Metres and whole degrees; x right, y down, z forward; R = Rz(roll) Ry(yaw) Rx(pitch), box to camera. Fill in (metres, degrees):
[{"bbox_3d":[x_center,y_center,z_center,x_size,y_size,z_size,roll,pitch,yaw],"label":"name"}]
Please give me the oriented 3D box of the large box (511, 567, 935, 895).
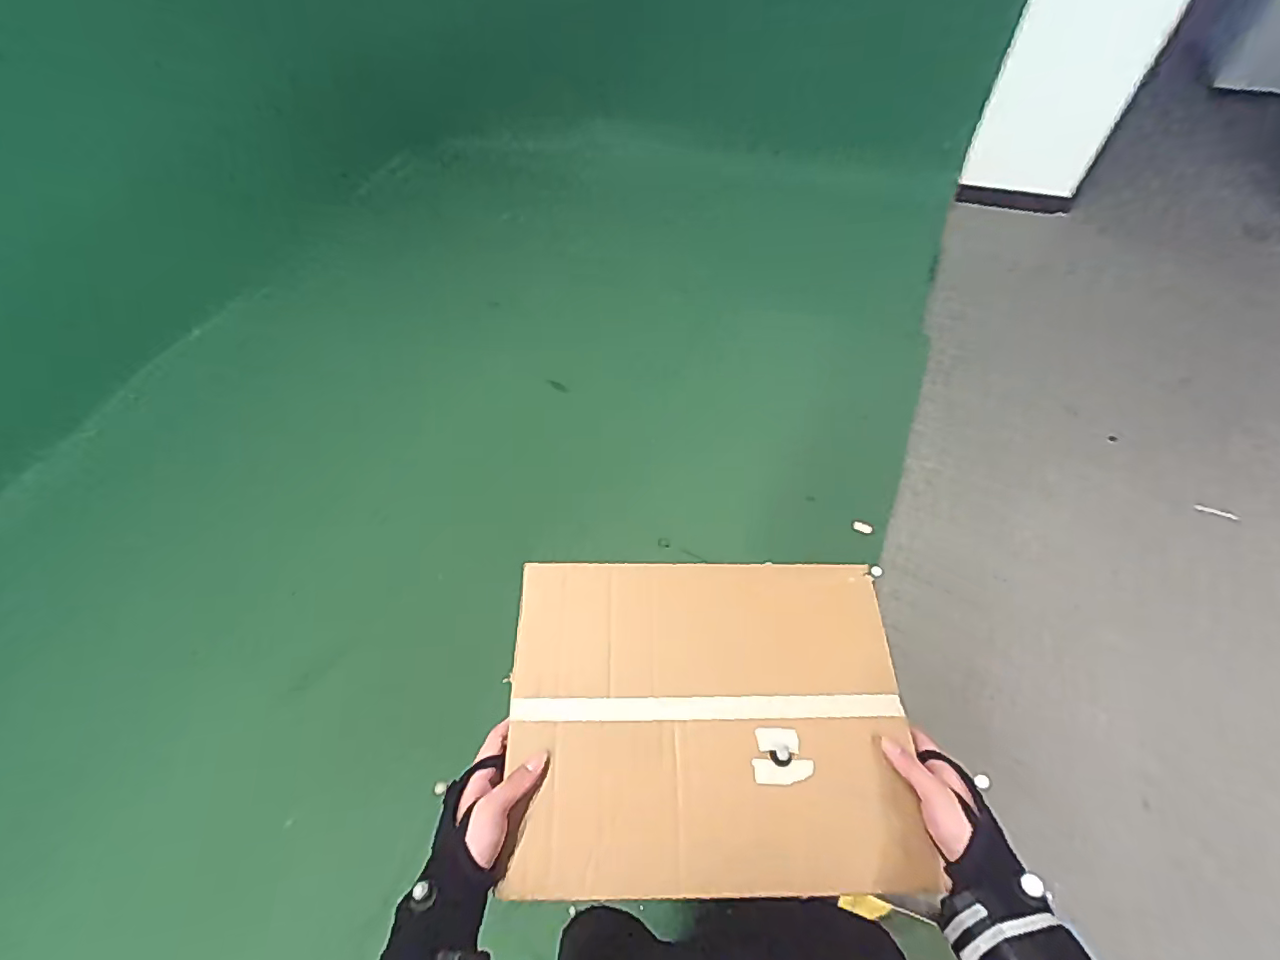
[{"bbox_3d":[0.070,0.312,0.696,0.408,0.320,0.320,1,61,-2],"label":"large box"}]
